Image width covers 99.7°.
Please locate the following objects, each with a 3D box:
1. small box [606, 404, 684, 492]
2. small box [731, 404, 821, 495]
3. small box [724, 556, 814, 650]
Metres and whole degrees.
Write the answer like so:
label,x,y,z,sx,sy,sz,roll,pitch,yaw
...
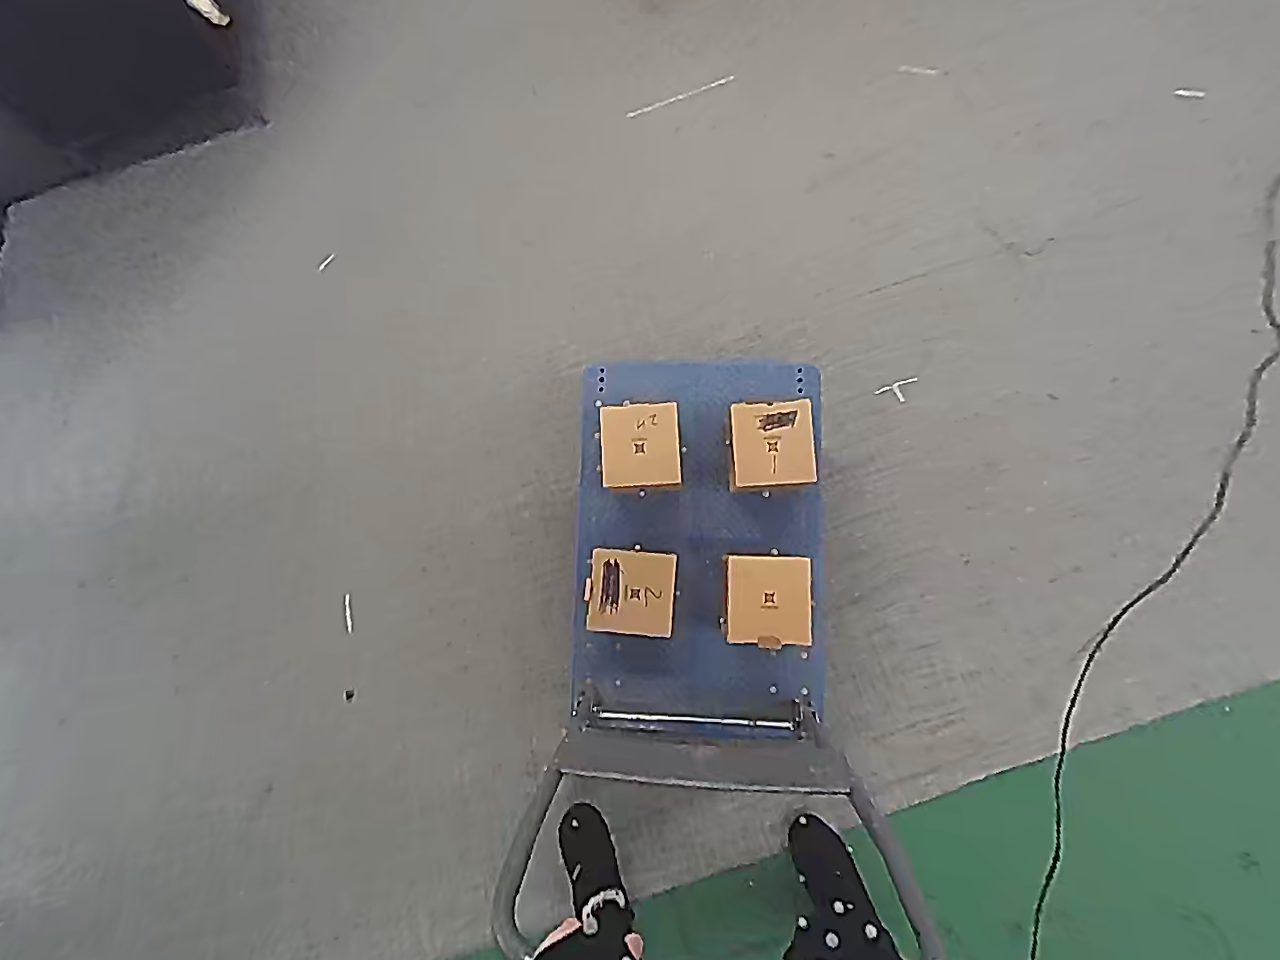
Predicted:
label,x,y,z,sx,sy,sz,roll,pitch,yaw
small box,0.016,-0.064,1.213,0.168,0.176,0.179,-2,83,3
small box,0.291,-0.061,1.191,0.168,0.176,0.179,-2,84,5
small box,0.269,0.255,1.157,0.168,0.176,0.179,2,84,5
